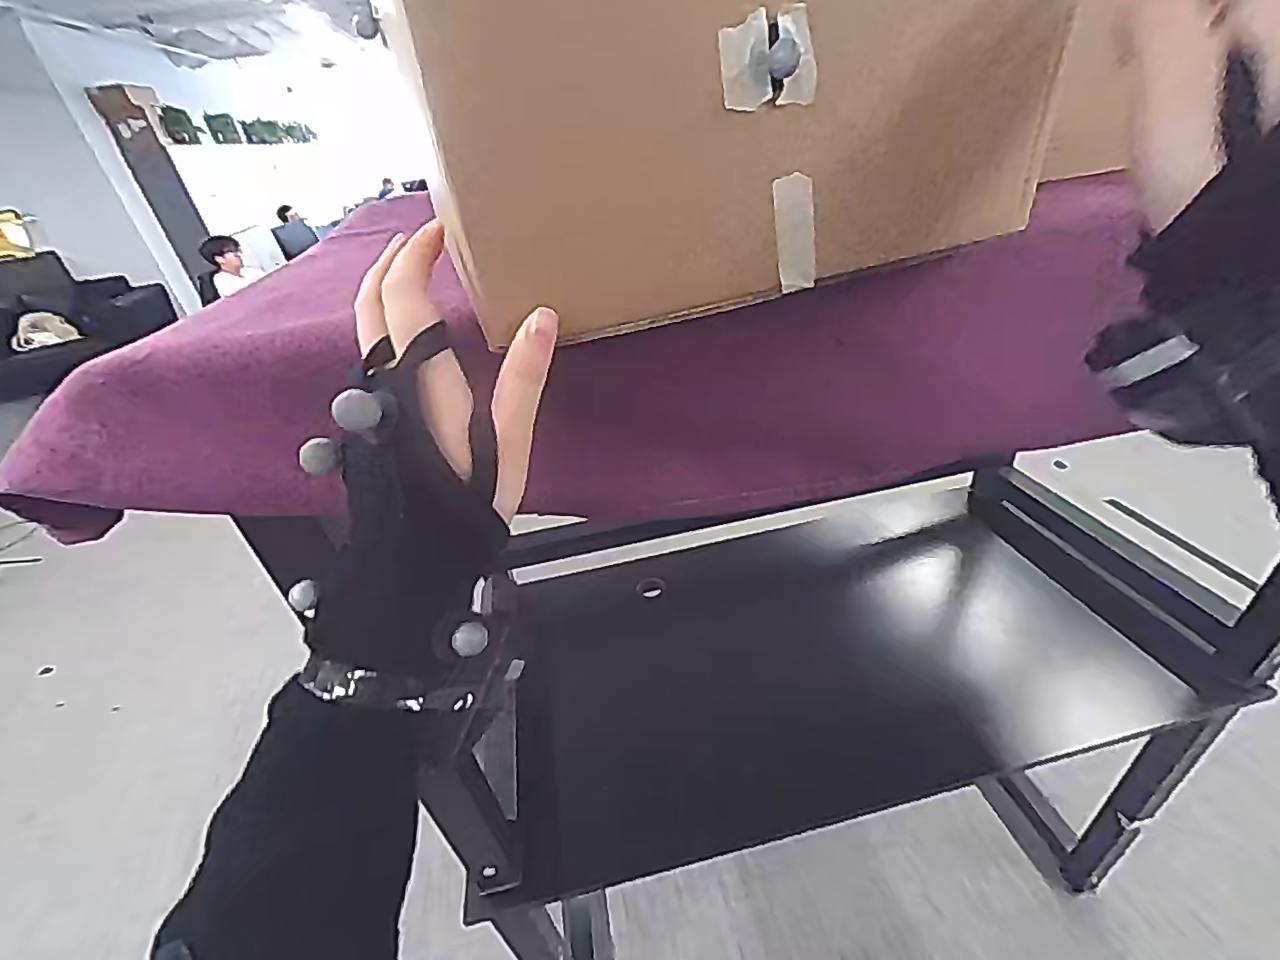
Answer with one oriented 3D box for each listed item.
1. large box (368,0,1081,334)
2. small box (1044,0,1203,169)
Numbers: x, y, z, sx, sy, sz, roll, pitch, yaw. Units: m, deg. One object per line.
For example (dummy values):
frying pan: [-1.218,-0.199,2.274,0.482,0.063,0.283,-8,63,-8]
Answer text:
large box: [-0.007,-0.316,0.347,0.320,0.320,0.408,-17,33,-14]
small box: [0.330,-0.368,0.473,0.179,0.176,0.168,-12,32,-4]
